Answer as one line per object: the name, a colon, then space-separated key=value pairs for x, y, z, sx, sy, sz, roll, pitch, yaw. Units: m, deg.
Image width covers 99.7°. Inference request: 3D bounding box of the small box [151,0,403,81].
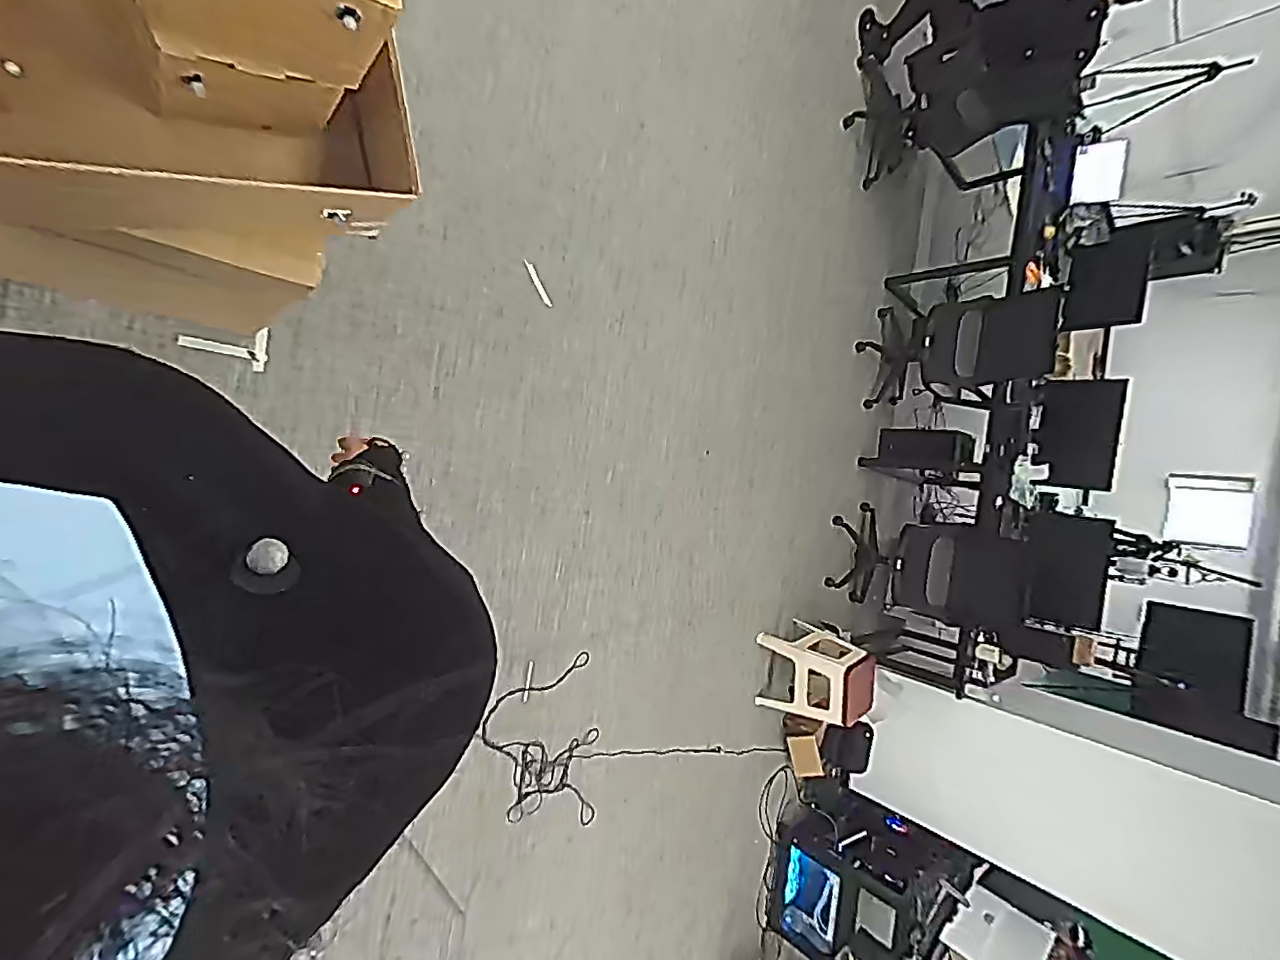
small box: x=-0.337 y=-0.502 z=0.484 sx=0.179 sy=0.176 sz=0.168 roll=-12 pitch=104 yaw=-41
